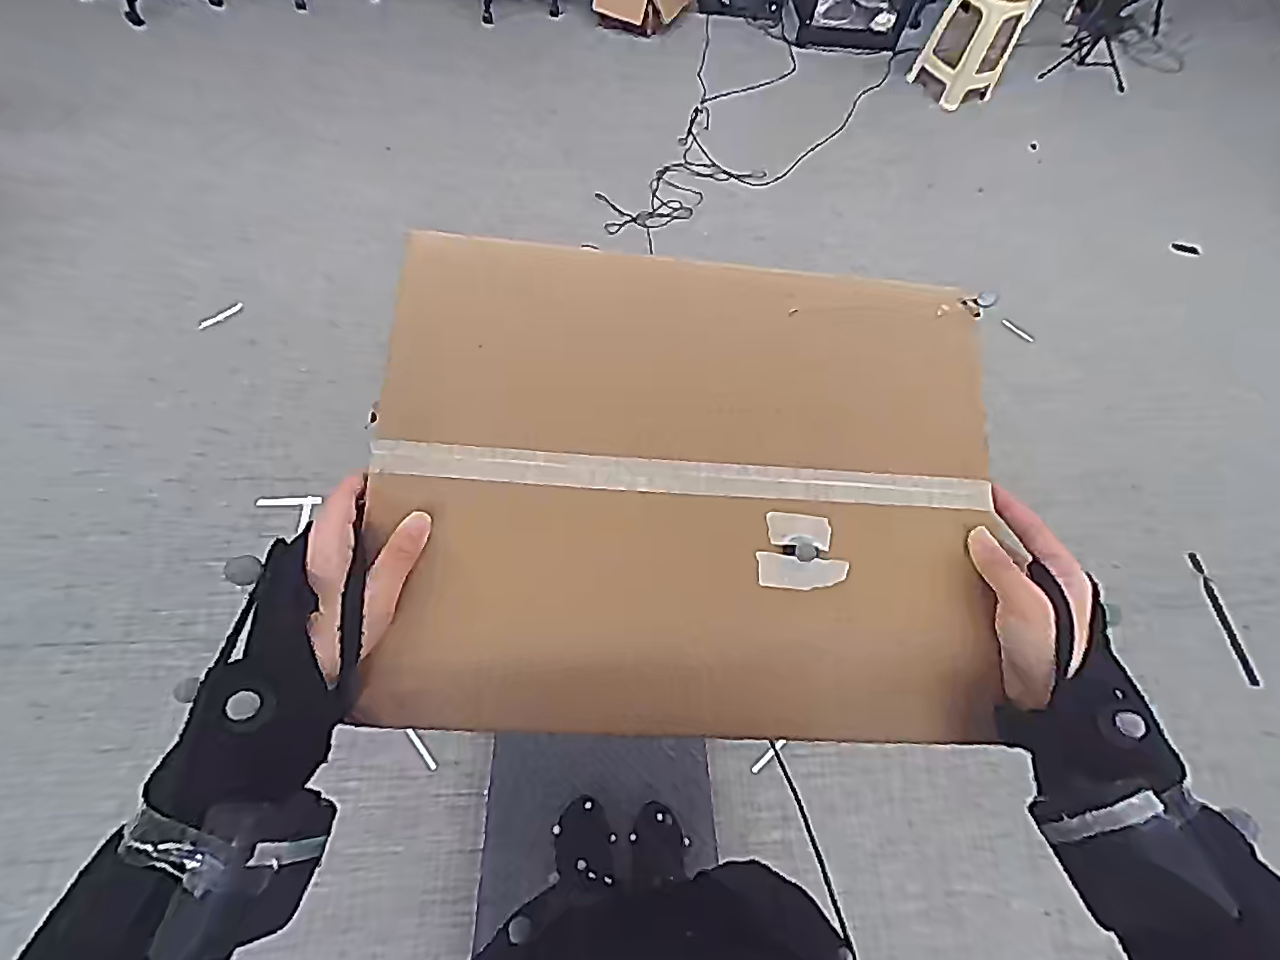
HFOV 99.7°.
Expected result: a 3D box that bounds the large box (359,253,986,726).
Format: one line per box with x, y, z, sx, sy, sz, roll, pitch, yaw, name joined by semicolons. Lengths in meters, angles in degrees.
0.018;0.030;0.508;0.408;0.320;0.320;4;79;-5;large box
